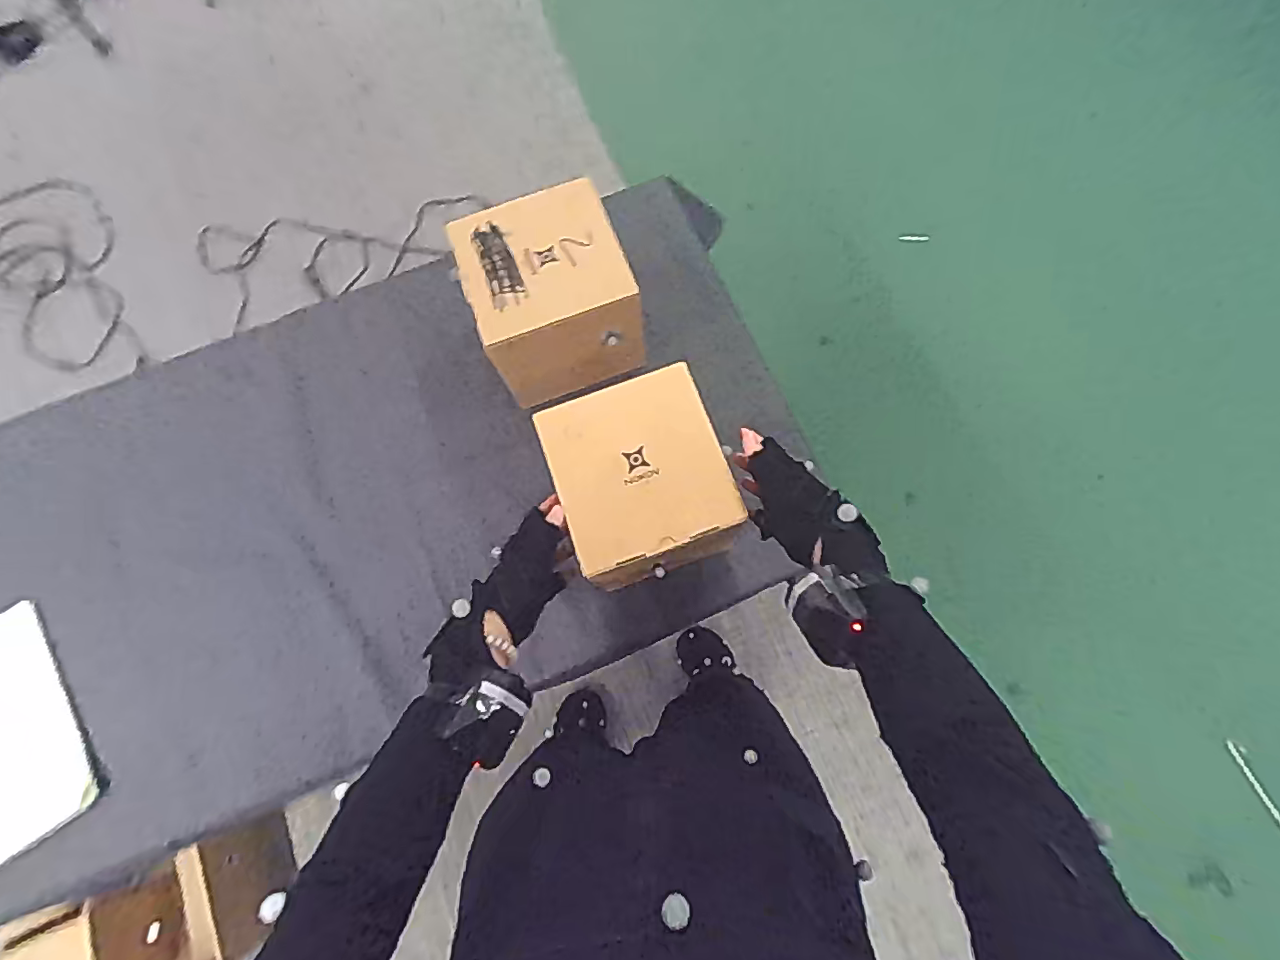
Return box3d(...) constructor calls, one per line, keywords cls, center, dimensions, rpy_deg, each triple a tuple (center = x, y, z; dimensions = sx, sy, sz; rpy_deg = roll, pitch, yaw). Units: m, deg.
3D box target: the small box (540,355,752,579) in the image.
box3d(cls="small box", center=(0.003, -0.003, 0.596), dimensions=(0.168, 0.176, 0.179), rpy_deg=(-19, 75, -3))
